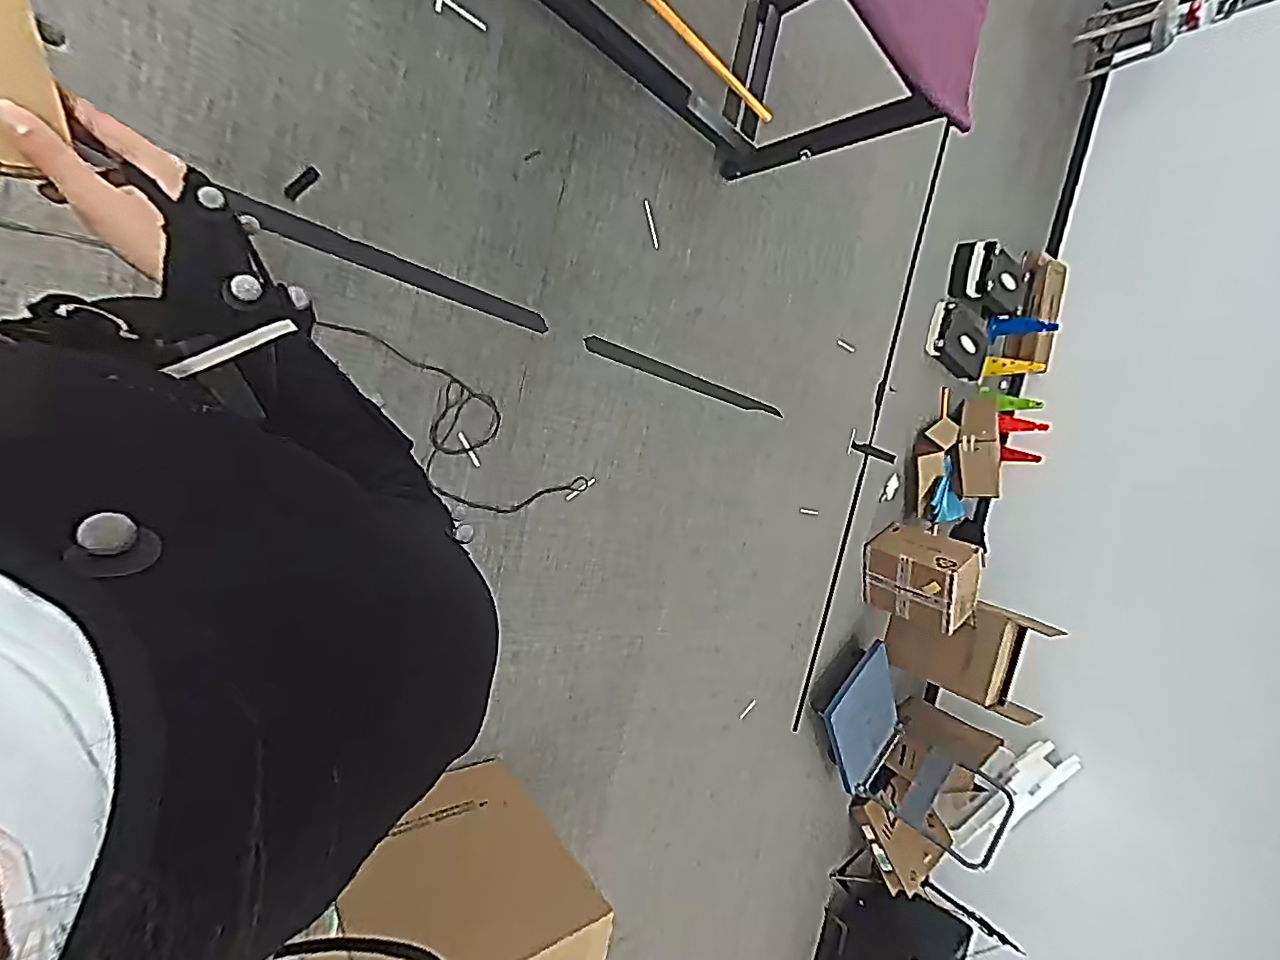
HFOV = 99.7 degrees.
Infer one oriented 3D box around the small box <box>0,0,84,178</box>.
[{"bbox_3d":[-0.414,-0.256,0.262,0.168,0.176,0.179,-20,123,-44],"label":"small box"}]
